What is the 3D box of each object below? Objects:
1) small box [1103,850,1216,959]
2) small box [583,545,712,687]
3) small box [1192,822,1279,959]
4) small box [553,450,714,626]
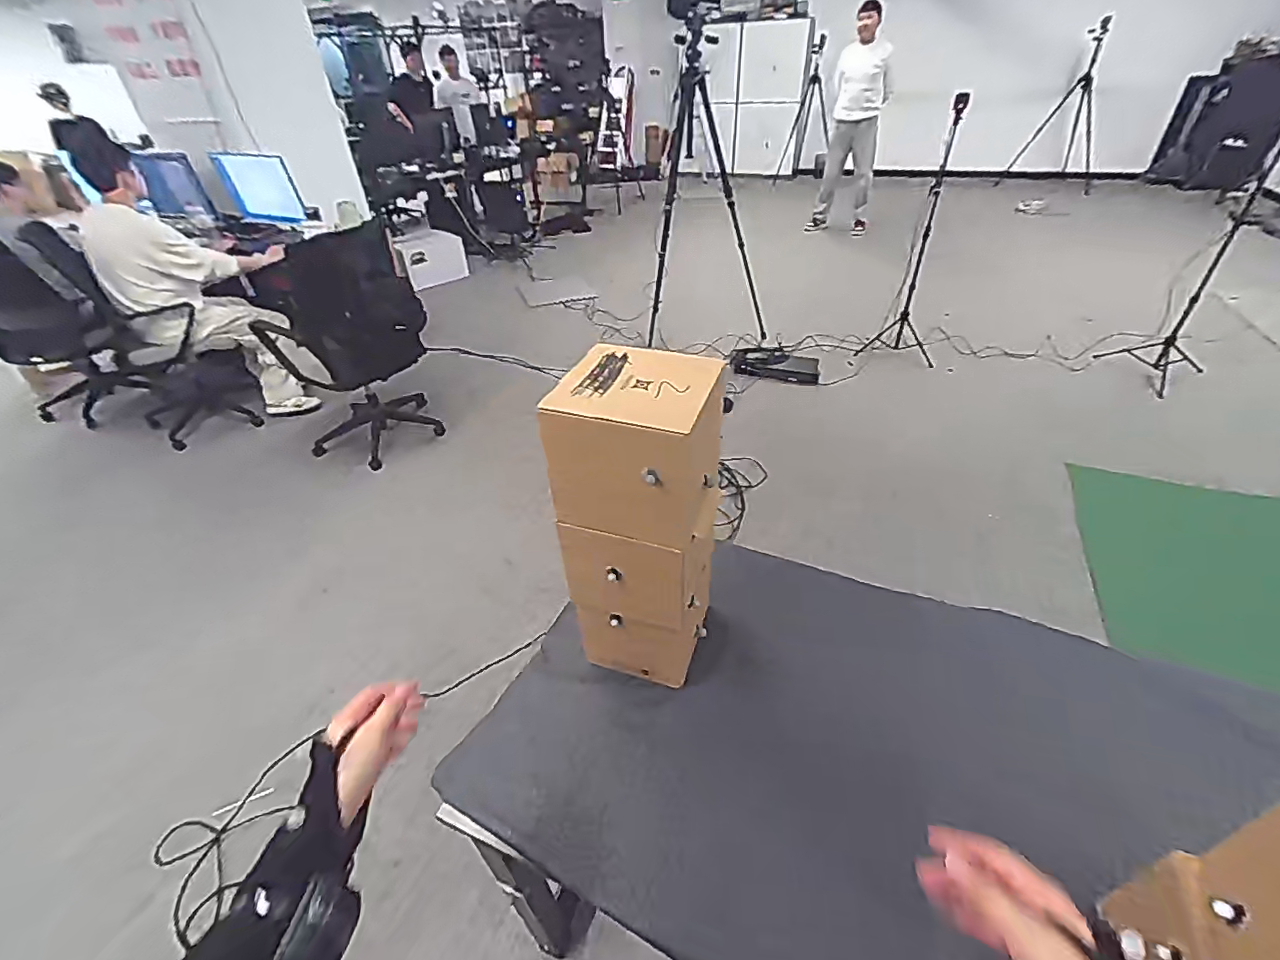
[{"bbox_3d":[0.555,0.485,0.479,0.168,0.176,0.179,13,40,21],"label":"small box"},{"bbox_3d":[0.015,0.203,0.888,0.168,0.176,0.179,11,41,16],"label":"small box"},{"bbox_3d":[0.542,0.364,0.371,0.179,0.176,0.168,20,42,29],"label":"small box"},{"bbox_3d":[0.001,0.083,0.773,0.179,0.176,0.168,10,41,18],"label":"small box"}]
